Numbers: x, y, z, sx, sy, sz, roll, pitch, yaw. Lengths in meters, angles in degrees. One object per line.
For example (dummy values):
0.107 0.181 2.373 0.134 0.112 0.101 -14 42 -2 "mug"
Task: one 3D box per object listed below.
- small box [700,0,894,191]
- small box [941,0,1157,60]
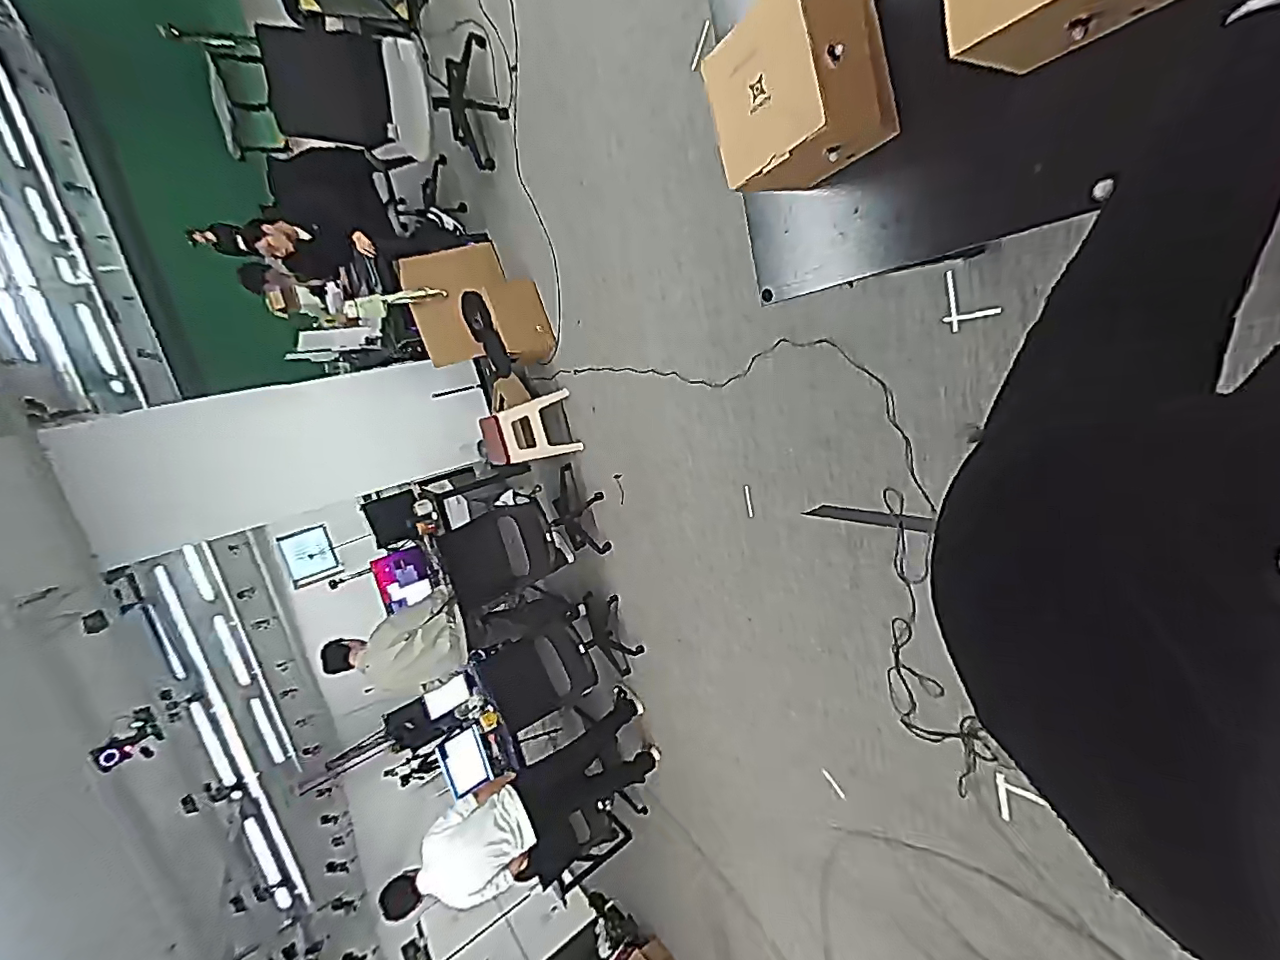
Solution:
0.213 -0.517 0.727 0.168 0.176 0.179 -4 103 56 "small box"
0.384 -0.504 0.471 0.168 0.176 0.179 6 113 55 "small box"
